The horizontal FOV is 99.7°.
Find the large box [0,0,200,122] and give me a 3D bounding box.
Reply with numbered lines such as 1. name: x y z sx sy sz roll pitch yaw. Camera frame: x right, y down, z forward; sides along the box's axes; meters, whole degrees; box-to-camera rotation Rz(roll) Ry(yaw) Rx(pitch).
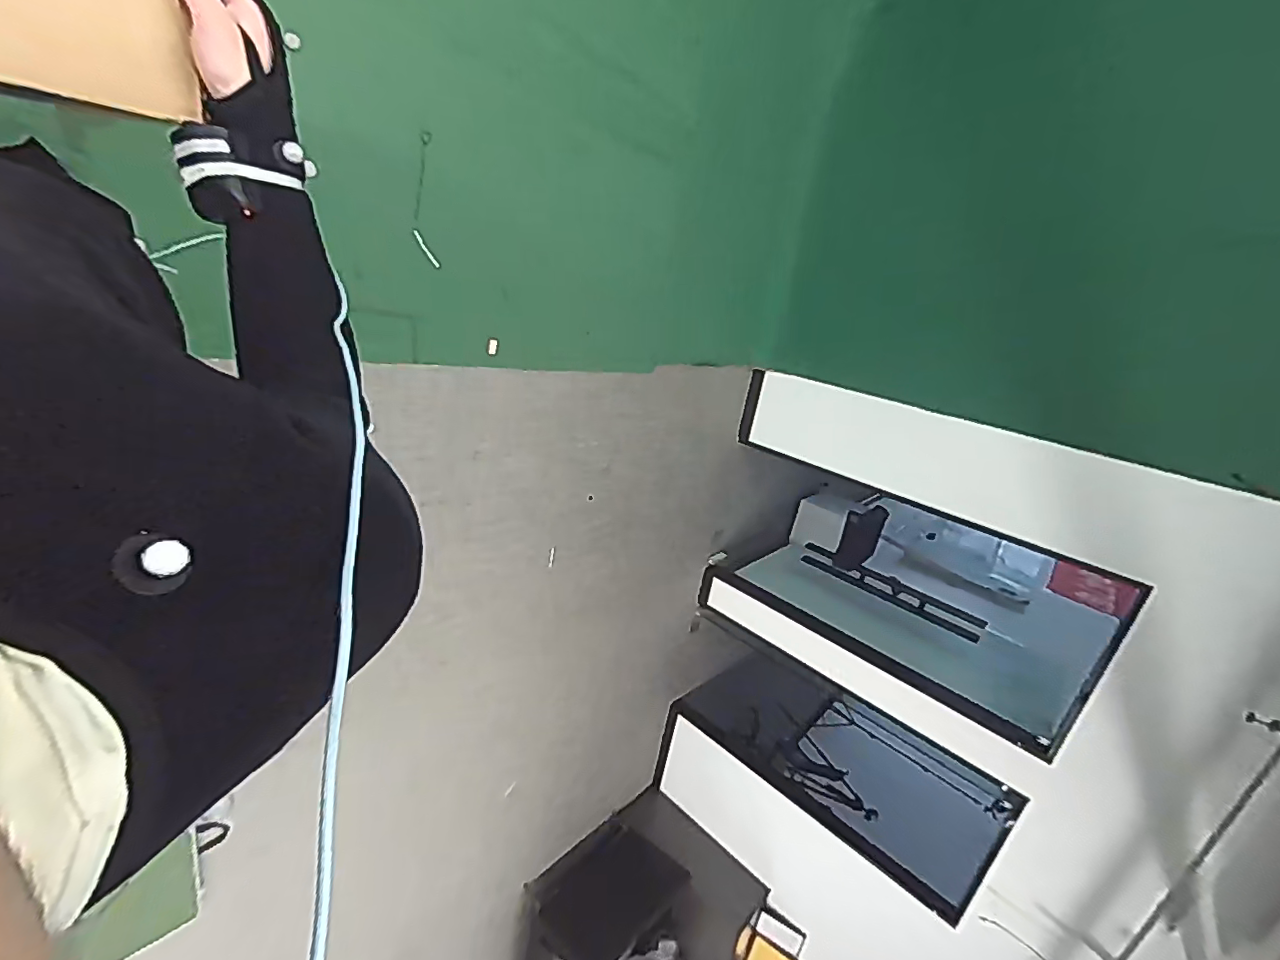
1. large box: -0.580 -0.450 0.331 0.408 0.320 0.320 -15 125 -46
